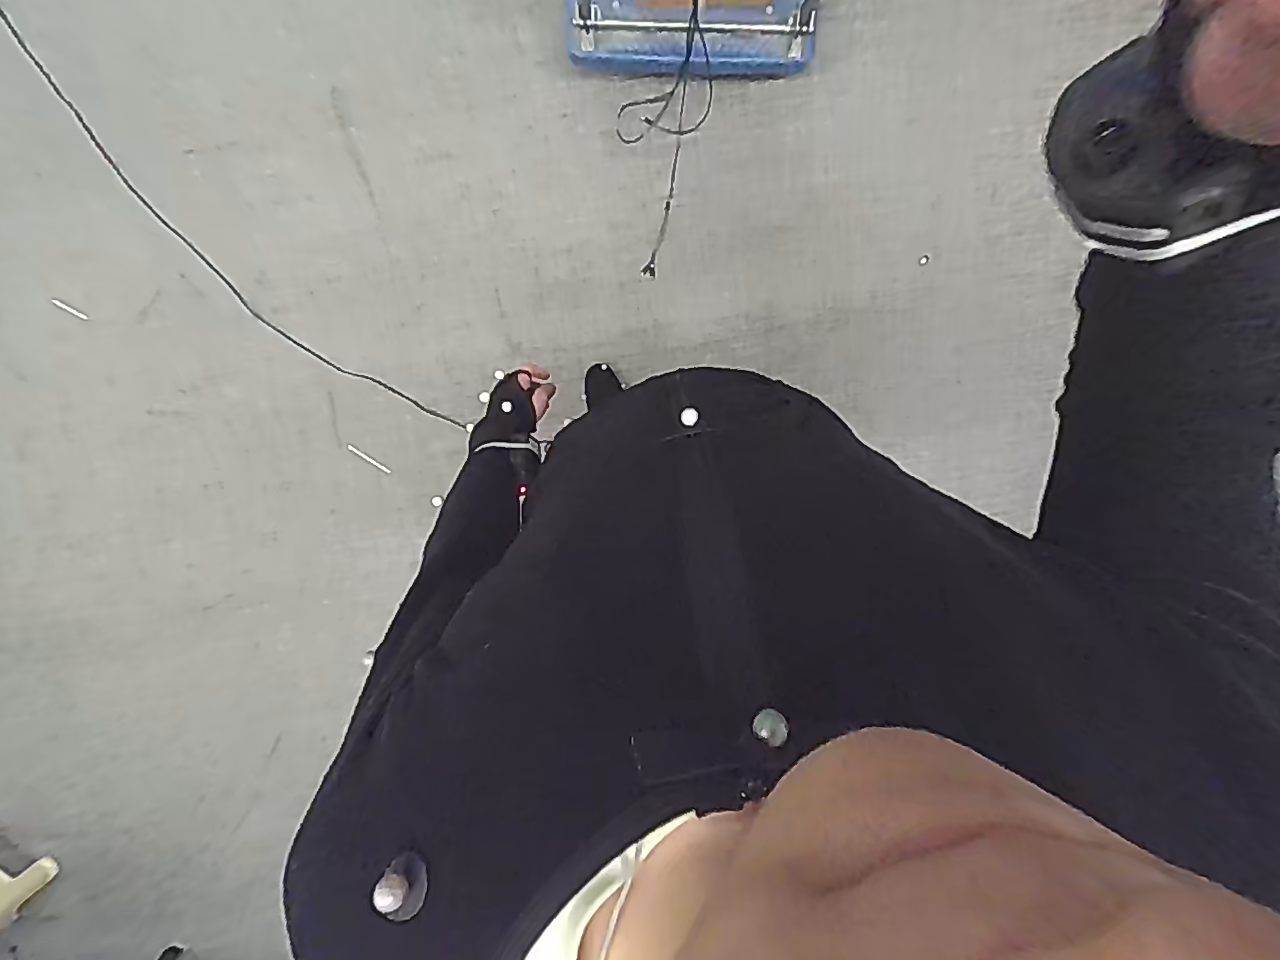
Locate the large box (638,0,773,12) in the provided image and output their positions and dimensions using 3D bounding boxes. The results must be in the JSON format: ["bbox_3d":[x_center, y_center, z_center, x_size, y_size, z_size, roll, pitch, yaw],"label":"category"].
[{"bbox_3d":[0.143,-1.223,1.039,0.320,0.320,0.408,0,102,-2],"label":"large box"}]
